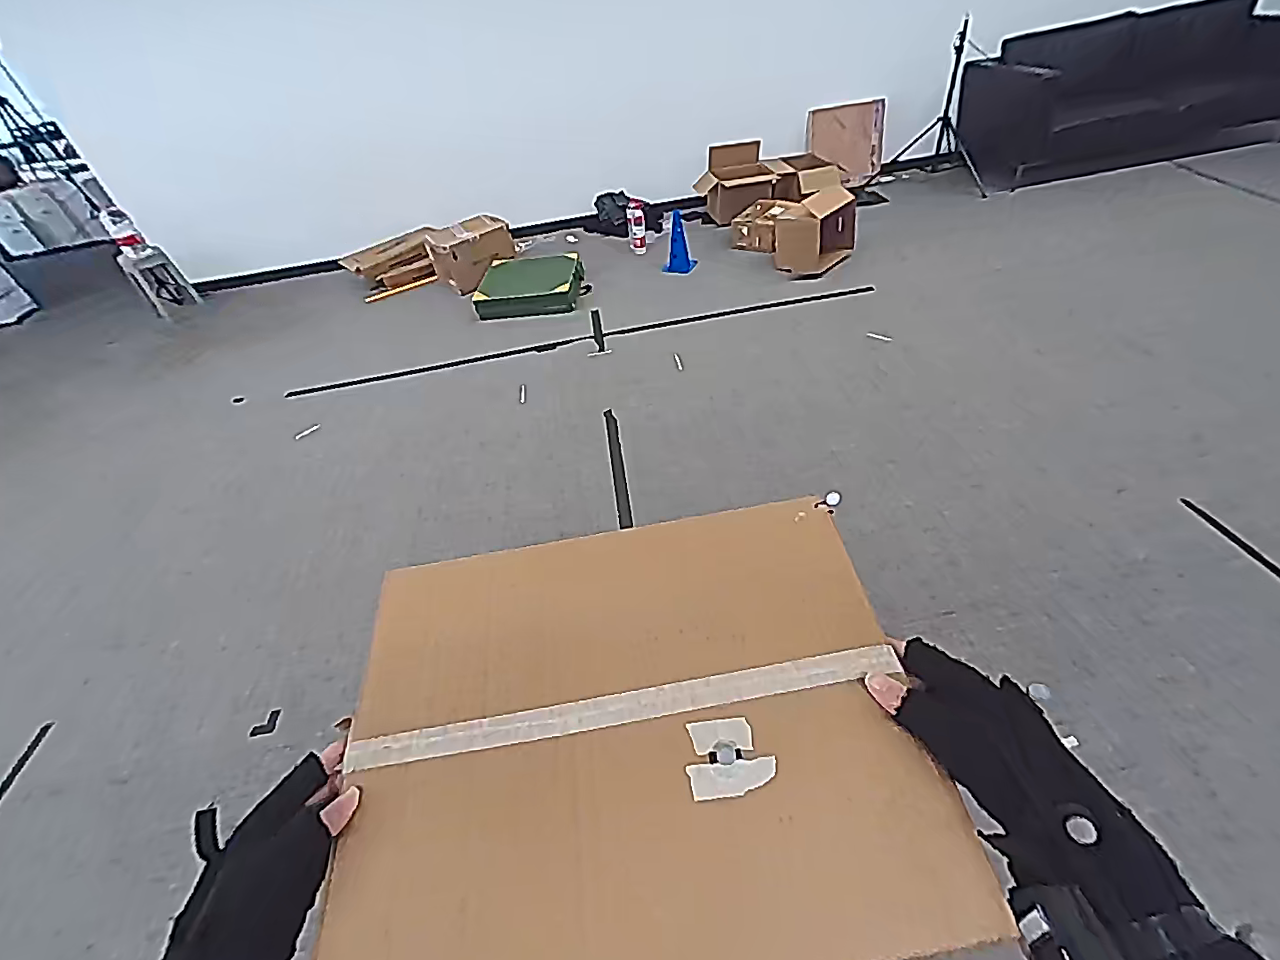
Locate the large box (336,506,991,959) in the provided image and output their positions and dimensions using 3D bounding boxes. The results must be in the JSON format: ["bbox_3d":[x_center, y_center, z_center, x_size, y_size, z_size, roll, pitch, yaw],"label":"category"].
[{"bbox_3d":[0.006,0.269,0.520,0.408,0.320,0.320,-10,50,-1],"label":"large box"}]
